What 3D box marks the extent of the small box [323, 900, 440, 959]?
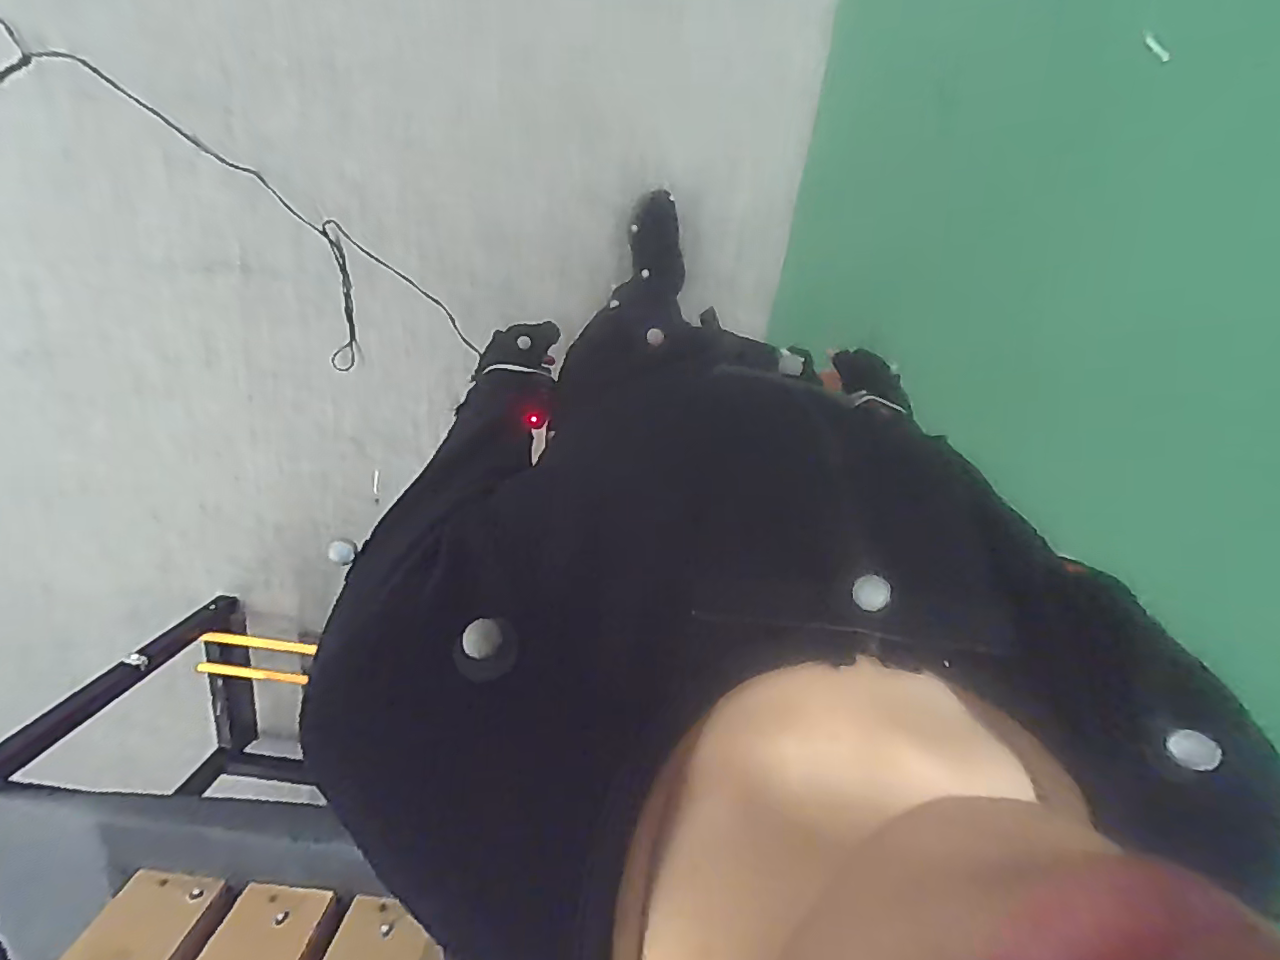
[{"bbox_3d":[-0.466,0.896,0.957,0.168,0.176,0.179,6,108,0],"label":"small box"}]
